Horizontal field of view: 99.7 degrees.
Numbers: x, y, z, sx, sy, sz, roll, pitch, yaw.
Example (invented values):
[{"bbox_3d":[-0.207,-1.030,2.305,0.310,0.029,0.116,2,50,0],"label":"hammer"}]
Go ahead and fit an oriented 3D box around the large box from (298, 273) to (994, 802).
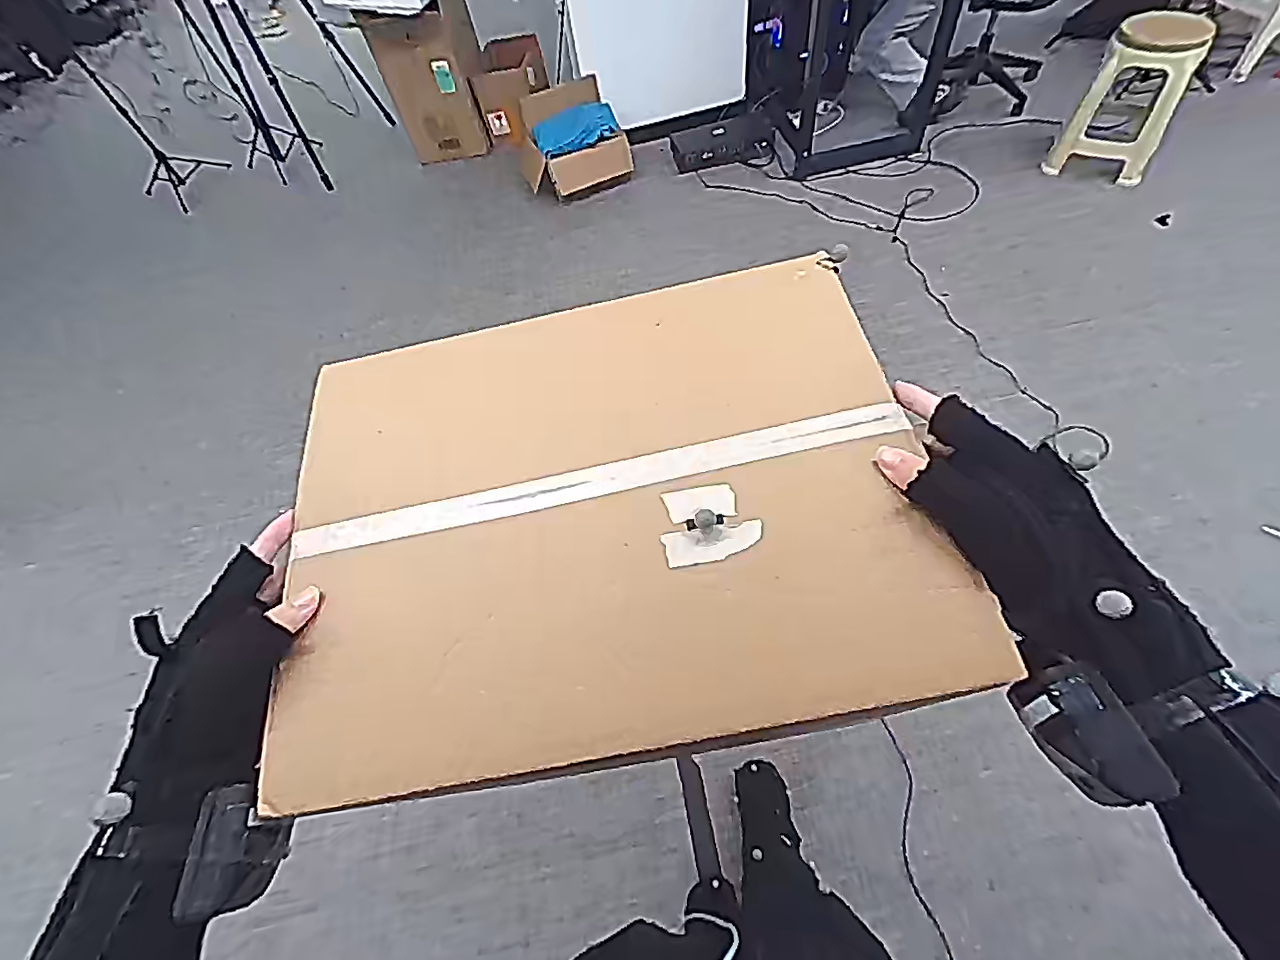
[{"bbox_3d":[-0.007,0.075,0.497,0.408,0.320,0.320,-12,62,2],"label":"large box"}]
